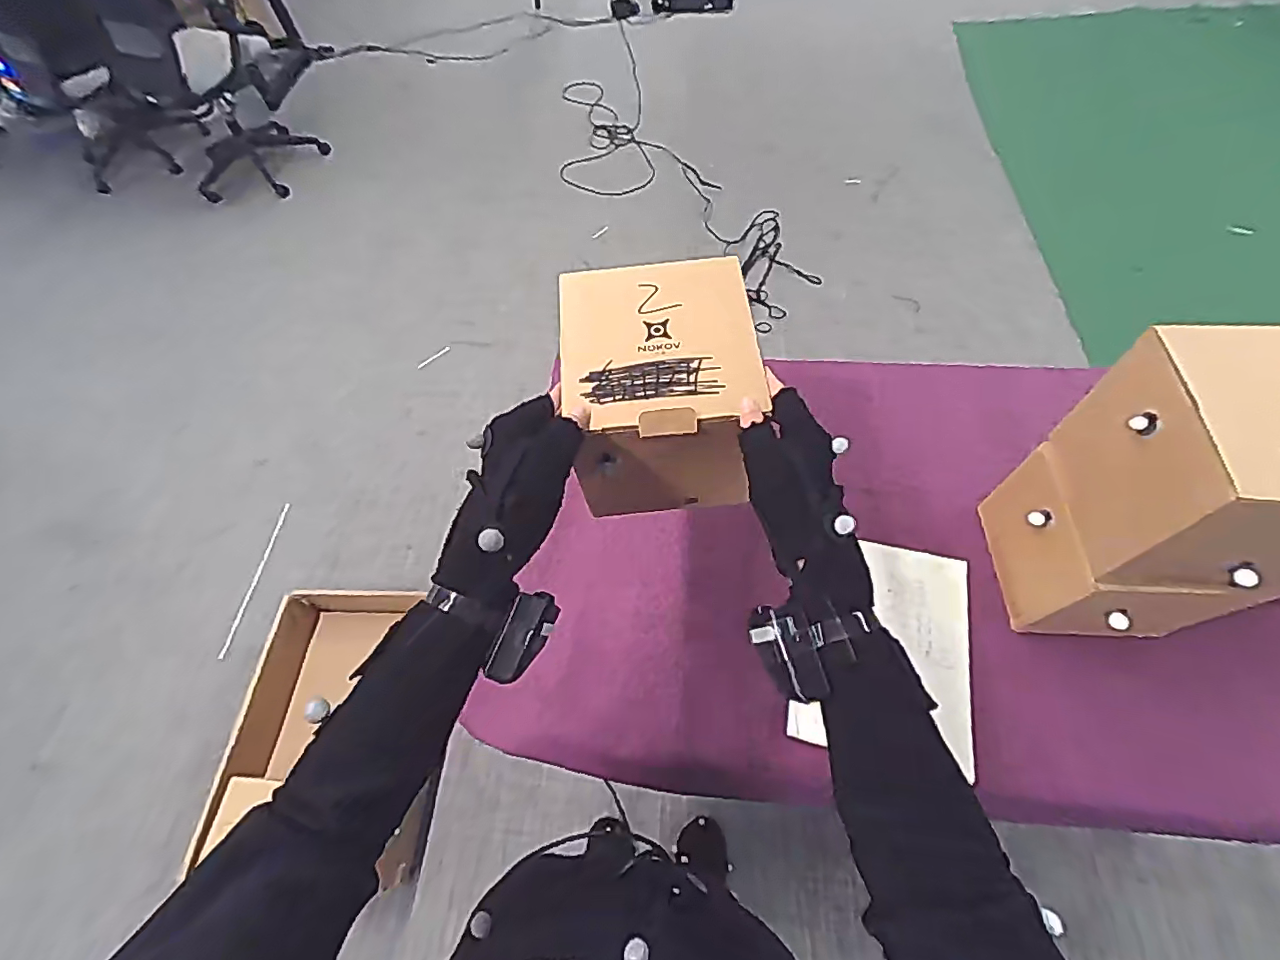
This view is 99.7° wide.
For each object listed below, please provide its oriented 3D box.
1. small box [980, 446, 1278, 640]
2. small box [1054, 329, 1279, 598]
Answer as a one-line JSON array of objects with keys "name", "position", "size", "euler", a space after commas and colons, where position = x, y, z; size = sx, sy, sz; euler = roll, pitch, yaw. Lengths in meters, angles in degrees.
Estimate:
[{"name": "small box", "position": [0.531, 0.078, 0.623], "size": [0.168, 0.176, 0.179], "euler": [0, 59, 7]}, {"name": "small box", "position": [0.519, -0.011, 0.485], "size": [0.168, 0.176, 0.179], "euler": [3, 60, 8]}]
